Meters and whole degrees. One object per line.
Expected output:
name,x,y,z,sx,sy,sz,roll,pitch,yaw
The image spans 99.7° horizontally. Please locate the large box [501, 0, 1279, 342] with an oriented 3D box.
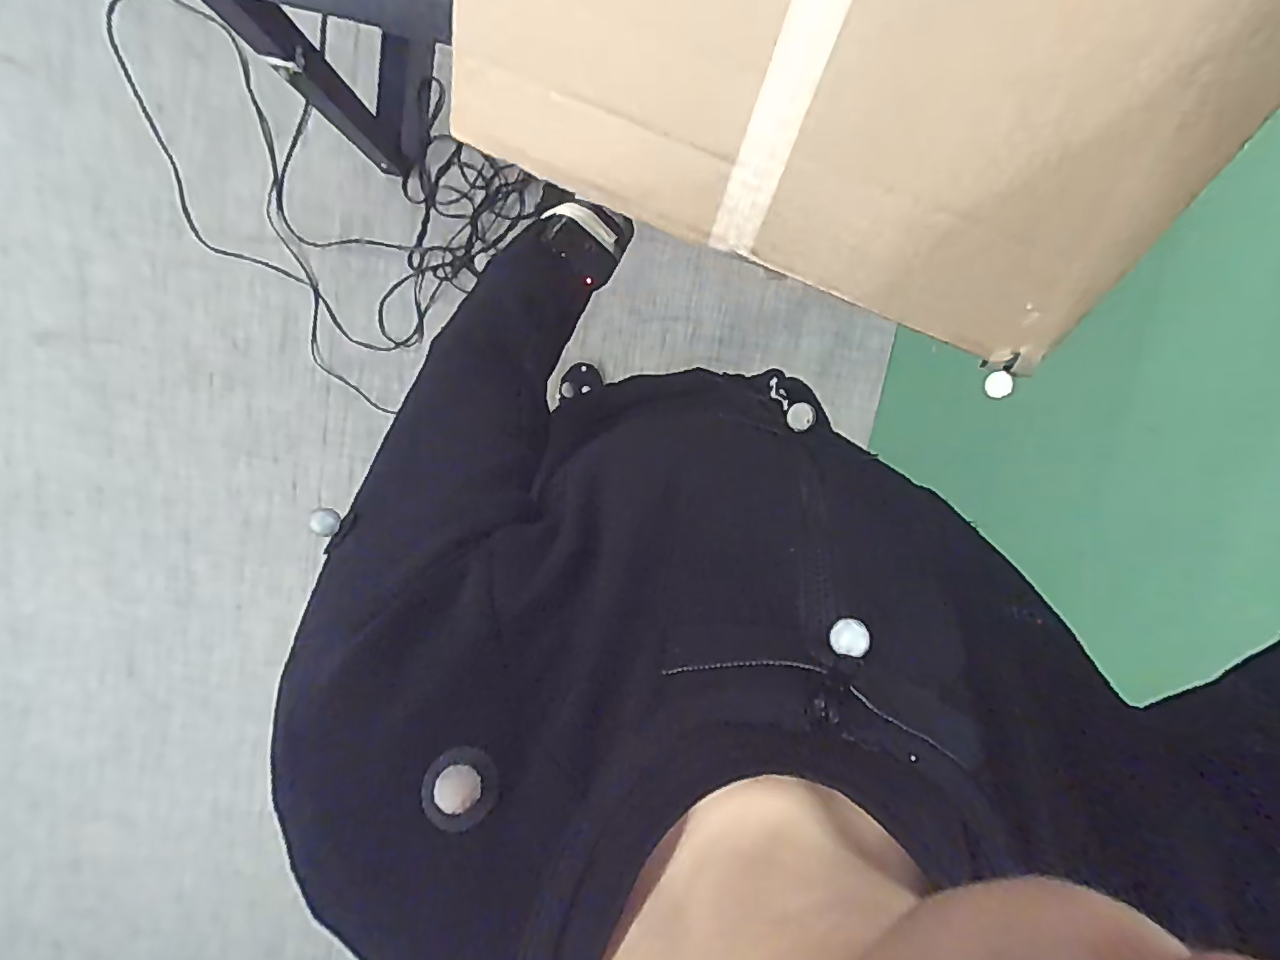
large box,0.155,-0.354,0.254,0.320,0.320,0.408,24,134,4
